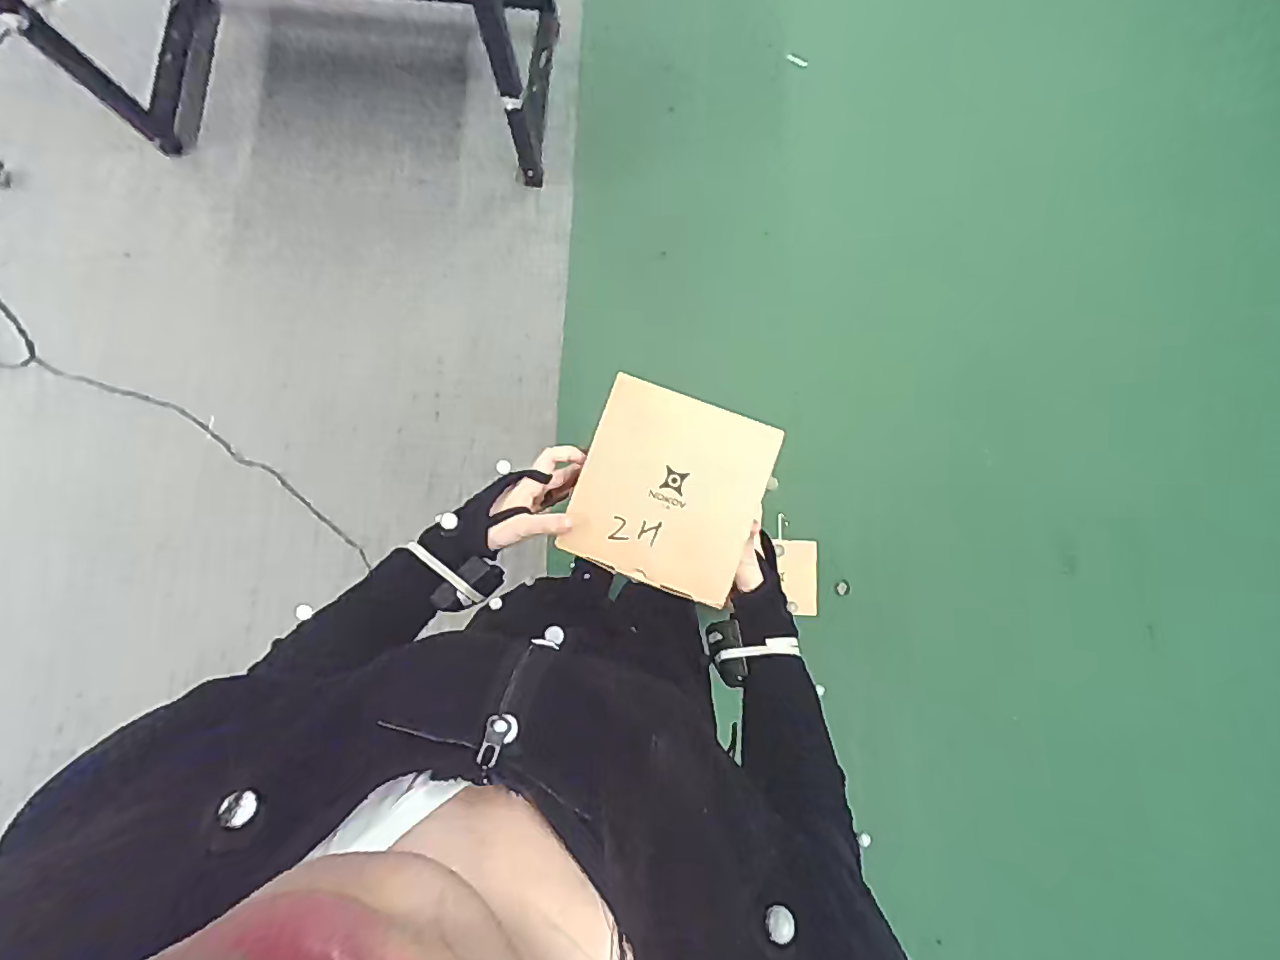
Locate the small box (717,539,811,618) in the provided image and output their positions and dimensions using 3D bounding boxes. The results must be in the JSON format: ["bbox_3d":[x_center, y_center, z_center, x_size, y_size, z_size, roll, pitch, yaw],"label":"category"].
[{"bbox_3d":[0.285,0.225,1.268,0.179,0.176,0.168,3,83,-2],"label":"small box"}]
